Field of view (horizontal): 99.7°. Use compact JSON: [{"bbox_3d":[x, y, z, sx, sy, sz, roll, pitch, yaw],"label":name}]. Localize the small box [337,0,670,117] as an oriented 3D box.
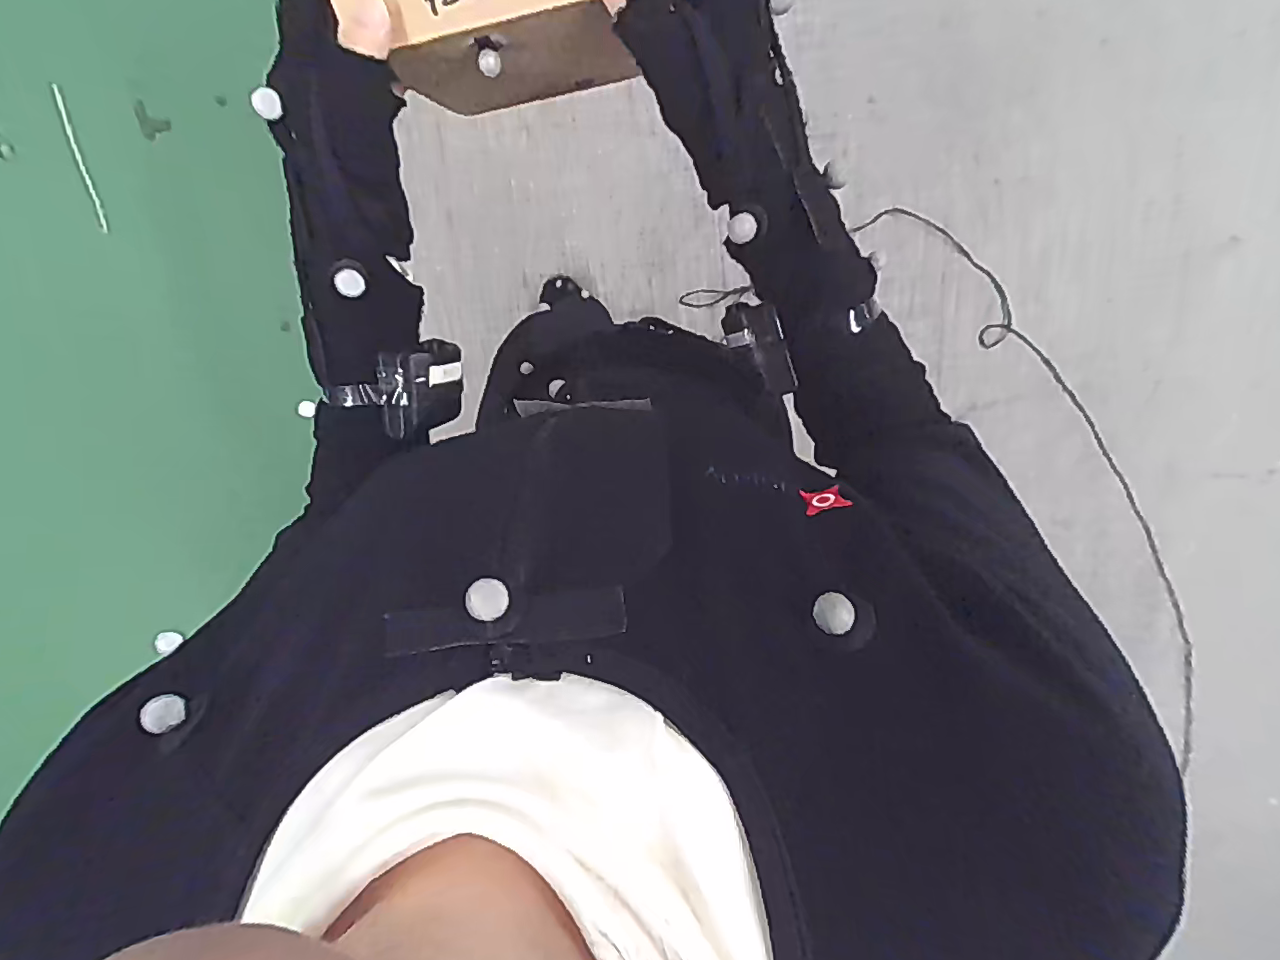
[{"bbox_3d":[-0.077,-0.338,0.305,0.168,0.176,0.179,-8,114,7],"label":"small box"}]
